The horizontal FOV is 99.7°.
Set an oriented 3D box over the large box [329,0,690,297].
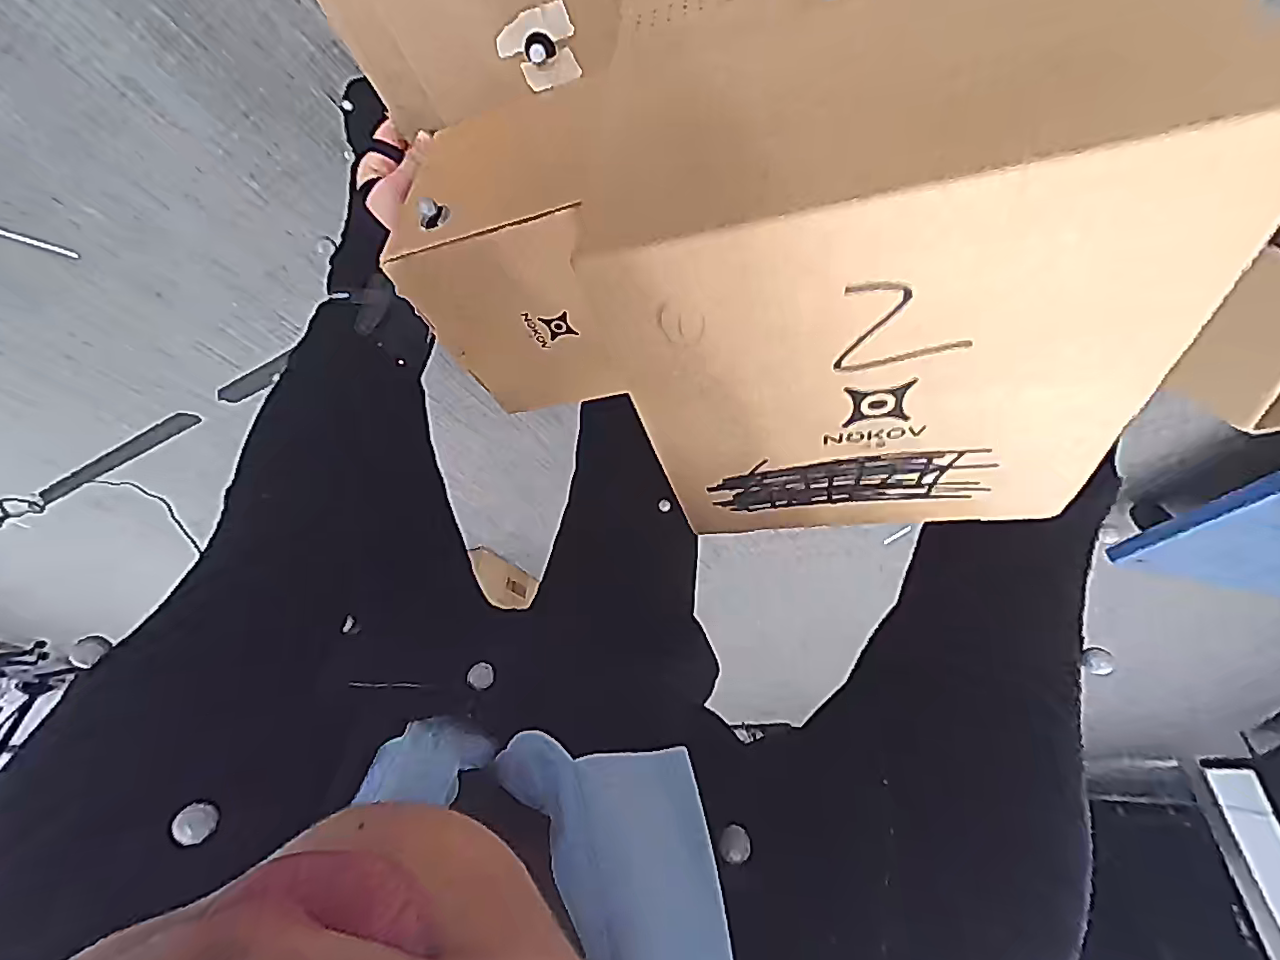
[{"bbox_3d":[0.020,-0.425,0.477,0.408,0.320,0.320,-7,145,19],"label":"large box"}]
